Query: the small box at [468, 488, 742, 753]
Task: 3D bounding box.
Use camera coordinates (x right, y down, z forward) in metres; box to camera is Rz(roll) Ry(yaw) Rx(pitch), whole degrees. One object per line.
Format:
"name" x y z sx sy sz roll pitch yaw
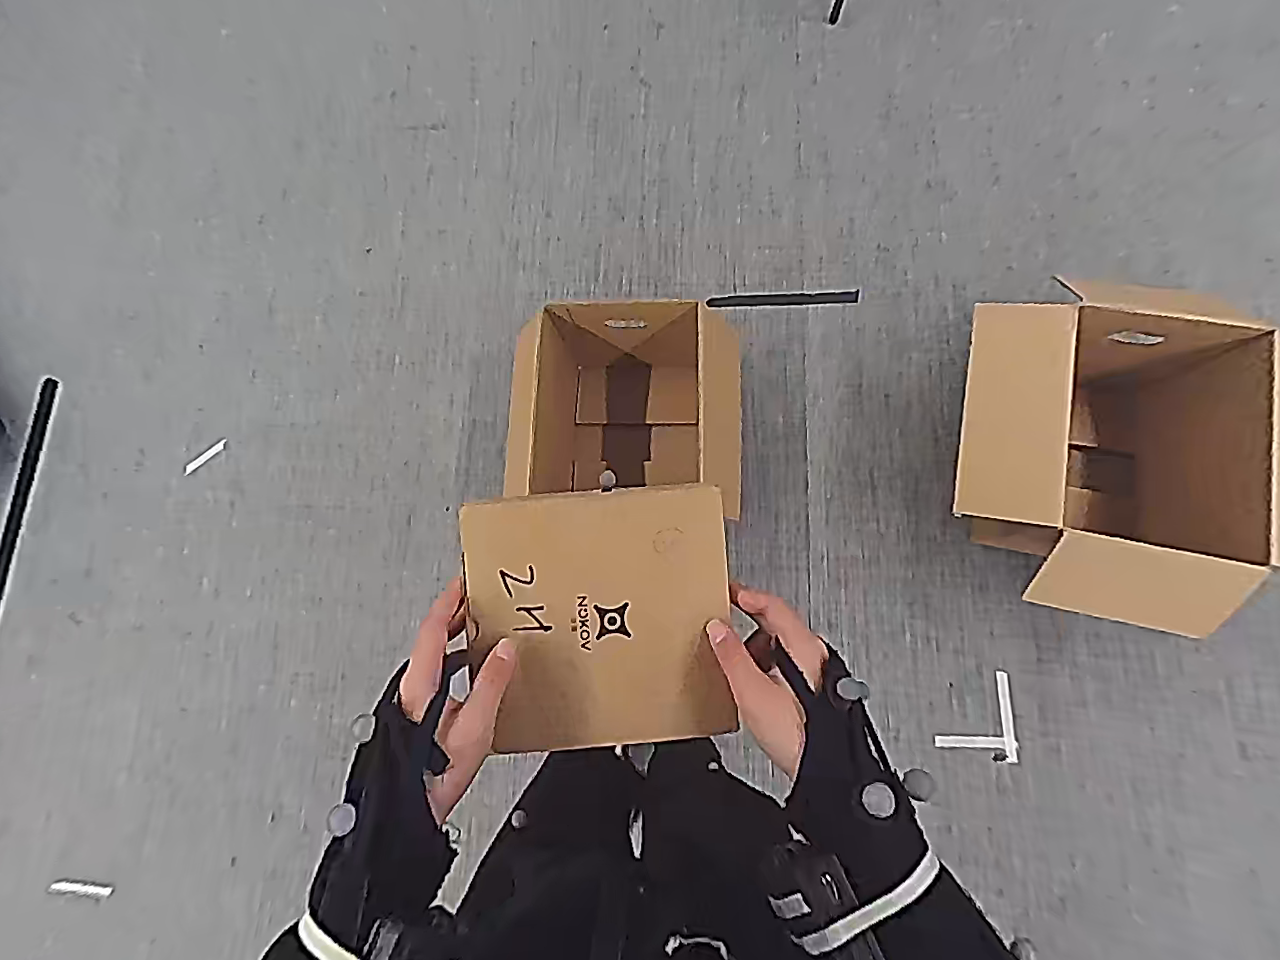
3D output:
"small box" -0.025 0.094 0.439 0.179 0.176 0.168 -4 89 -1
